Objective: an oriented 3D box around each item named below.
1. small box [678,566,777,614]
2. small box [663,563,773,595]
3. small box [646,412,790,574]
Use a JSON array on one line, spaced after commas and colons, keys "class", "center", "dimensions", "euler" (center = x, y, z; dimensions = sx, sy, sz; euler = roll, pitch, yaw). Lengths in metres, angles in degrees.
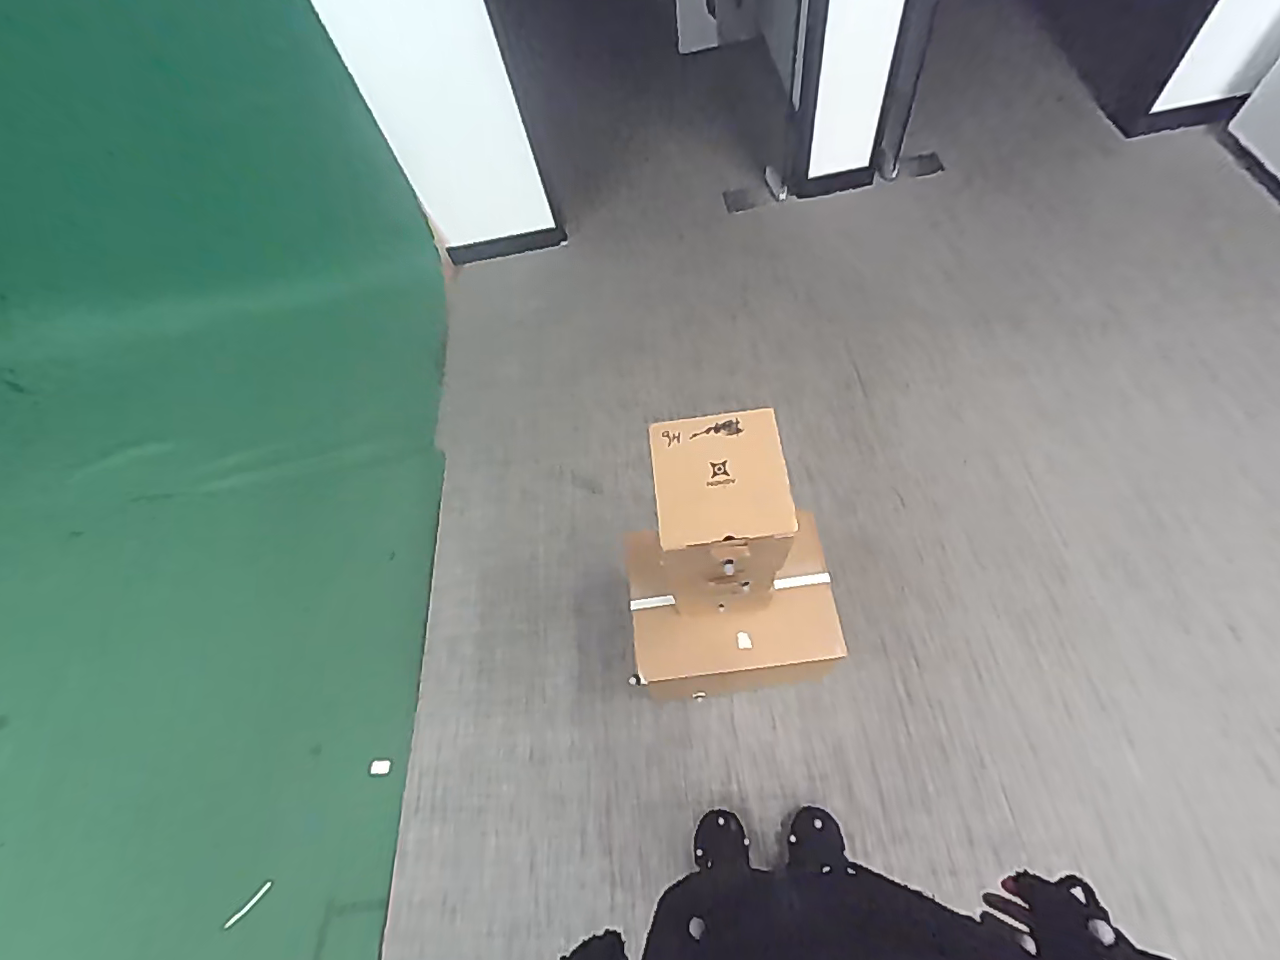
[{"class": "small box", "center": [0.154, 0.158, 1.047], "dimensions": [0.179, 0.176, 0.168], "euler": [-9, 67, 4]}, {"class": "small box", "center": [0.123, 0.090, 0.904], "dimensions": [0.168, 0.176, 0.179], "euler": [-7, 65, 5]}, {"class": "small box", "center": [0.105, 0.029, 0.753], "dimensions": [0.168, 0.176, 0.179], "euler": [-7, 67, 5]}]
